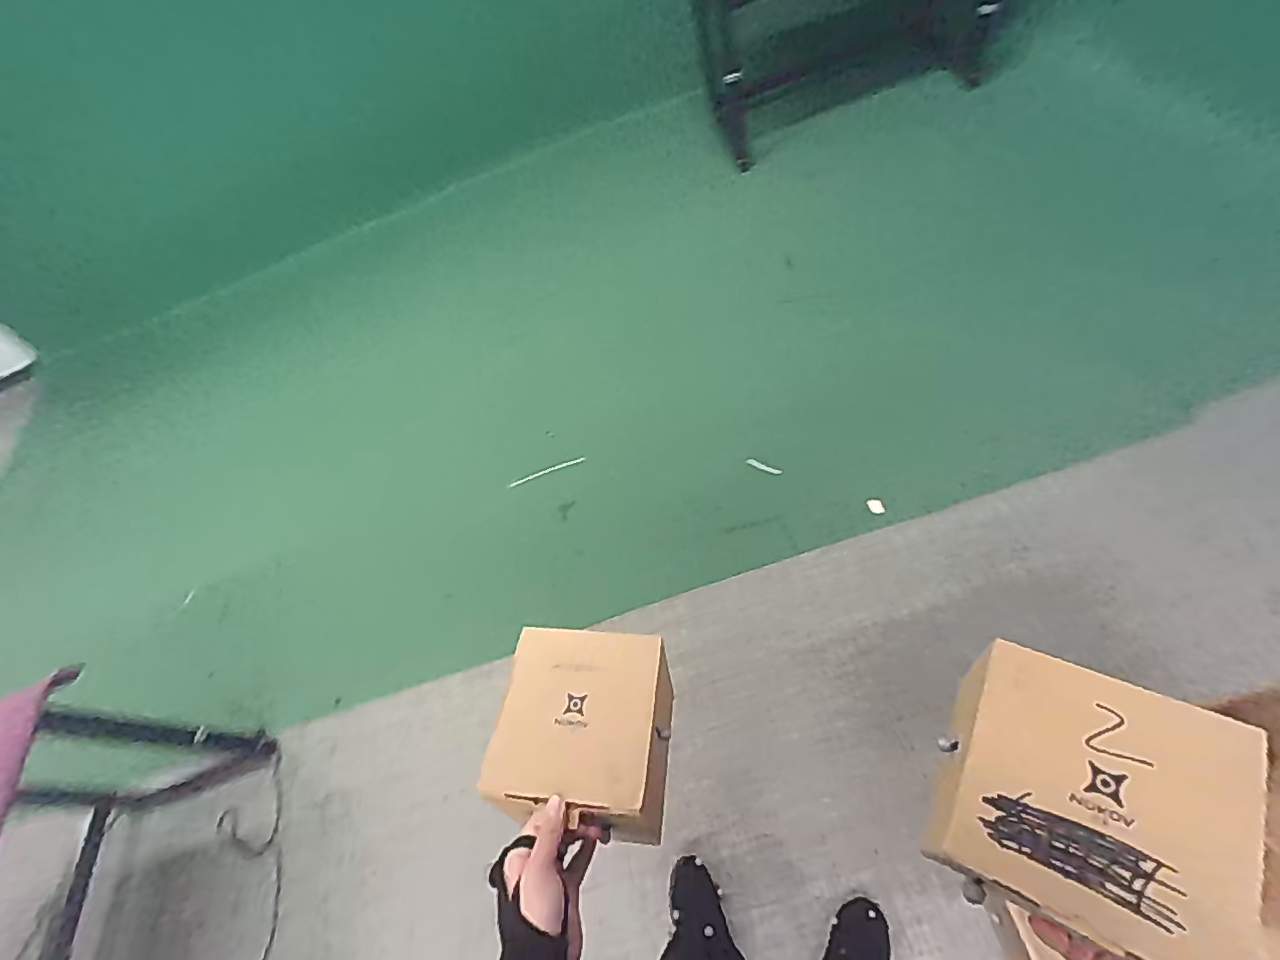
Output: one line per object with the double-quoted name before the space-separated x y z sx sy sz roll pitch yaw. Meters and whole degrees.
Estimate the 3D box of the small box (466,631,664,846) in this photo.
"small box" -0.066 0.293 0.613 0.168 0.176 0.179 0 47 10

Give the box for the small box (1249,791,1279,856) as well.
"small box" 0.863 0.418 0.590 0.179 0.176 0.168 -19 55 8
